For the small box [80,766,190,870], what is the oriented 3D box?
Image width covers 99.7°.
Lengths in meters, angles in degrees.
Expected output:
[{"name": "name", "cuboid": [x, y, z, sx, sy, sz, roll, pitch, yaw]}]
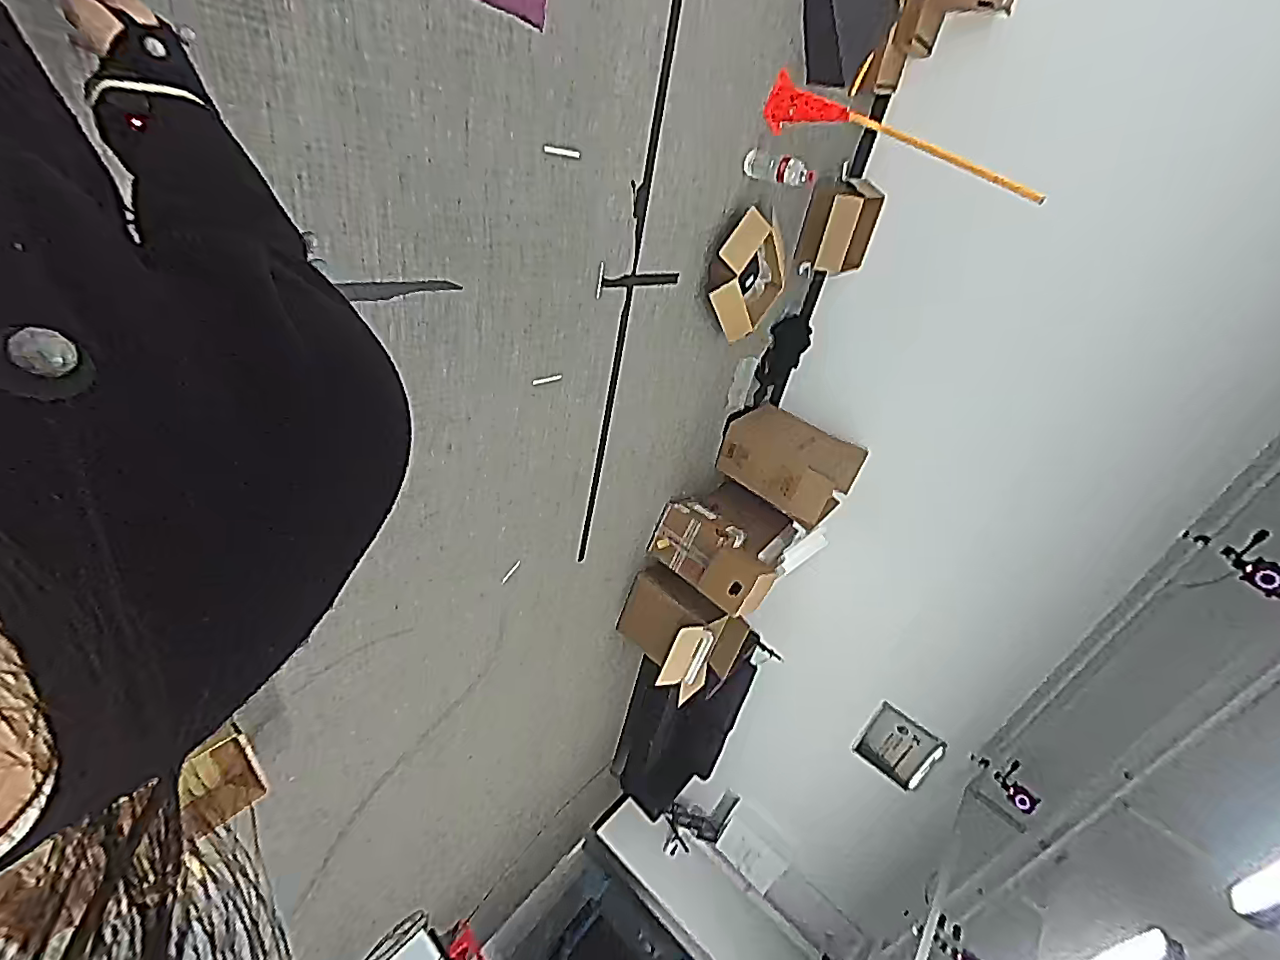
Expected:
[{"name": "small box", "cuboid": [-1.482, 0.987, 1.590, 0.168, 0.176, 0.179, -35, 144, -38]}]
